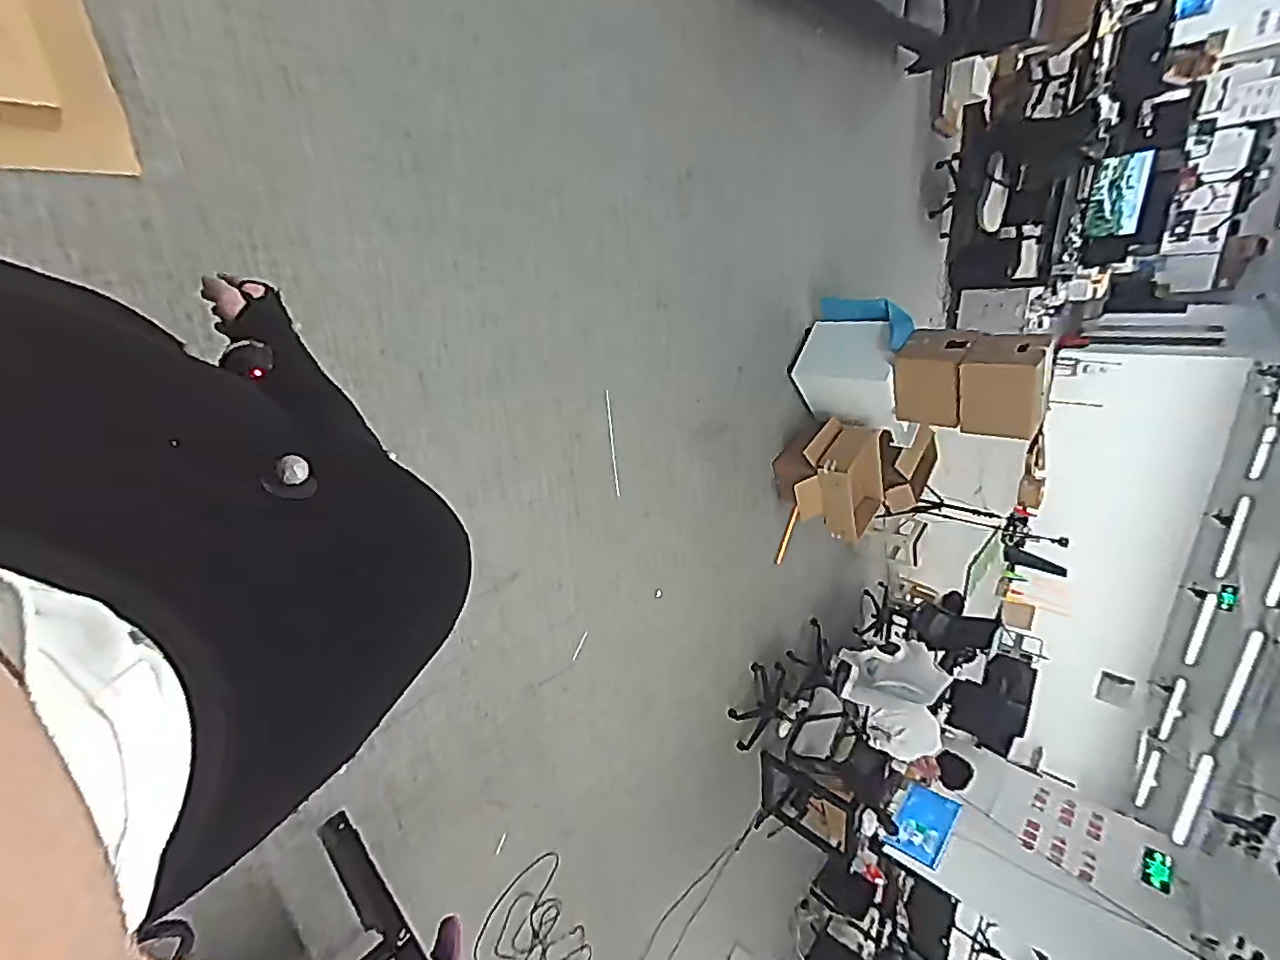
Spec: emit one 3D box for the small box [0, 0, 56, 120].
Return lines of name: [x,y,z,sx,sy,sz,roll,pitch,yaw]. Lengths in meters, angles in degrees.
small box: [-1.137,-0.729,0.911,0.179,0.176,0.168,-22,118,-41]
